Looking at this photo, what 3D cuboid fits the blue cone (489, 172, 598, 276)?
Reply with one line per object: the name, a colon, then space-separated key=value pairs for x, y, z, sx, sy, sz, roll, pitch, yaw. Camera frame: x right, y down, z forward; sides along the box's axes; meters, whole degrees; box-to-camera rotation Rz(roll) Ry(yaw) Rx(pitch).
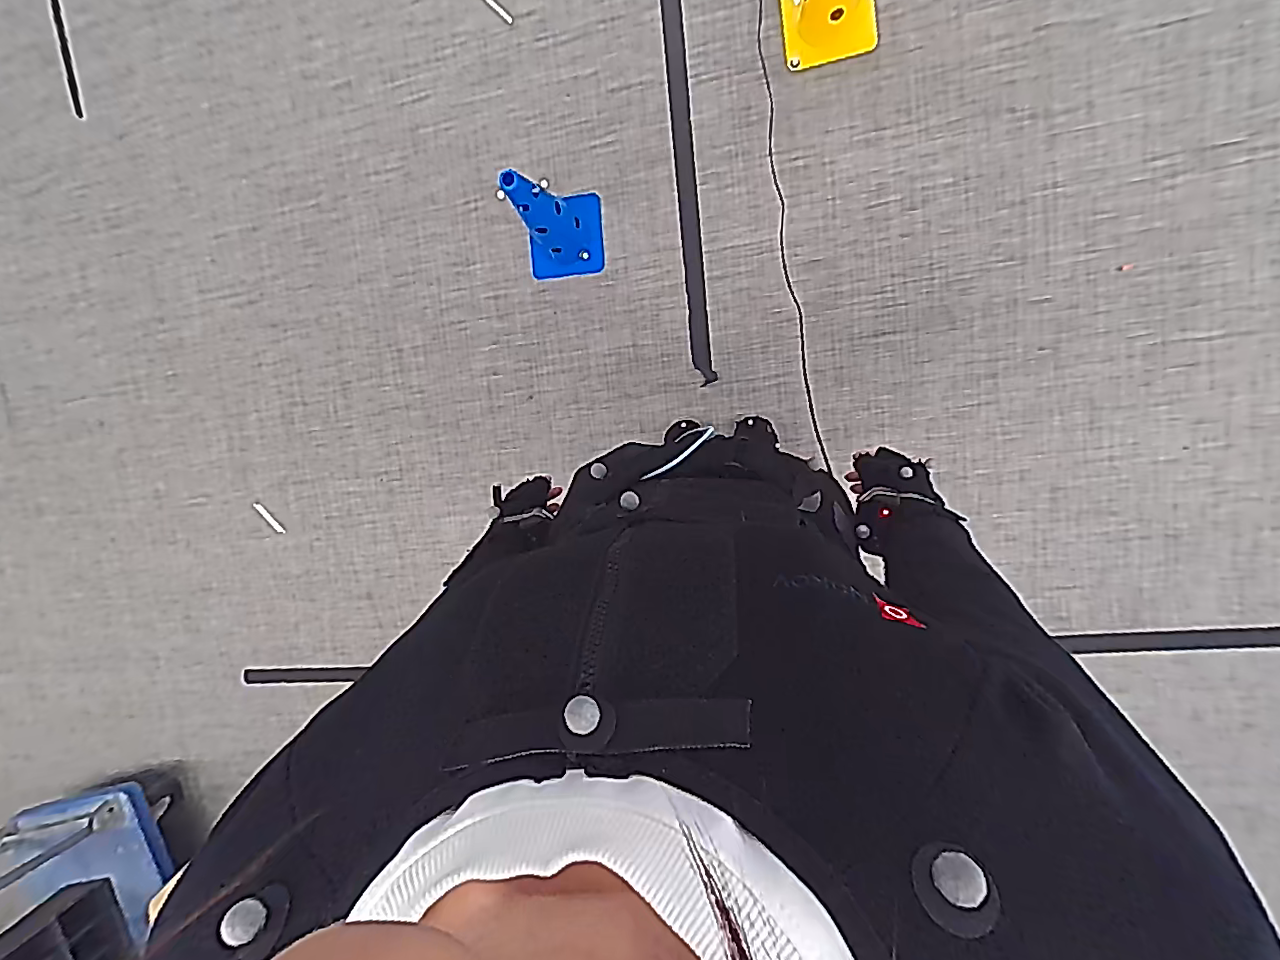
blue cone: x=-0.236 y=-0.620 z=1.254 sx=0.192 sy=0.380 sz=0.193 roll=-1 pitch=96 yaw=12
